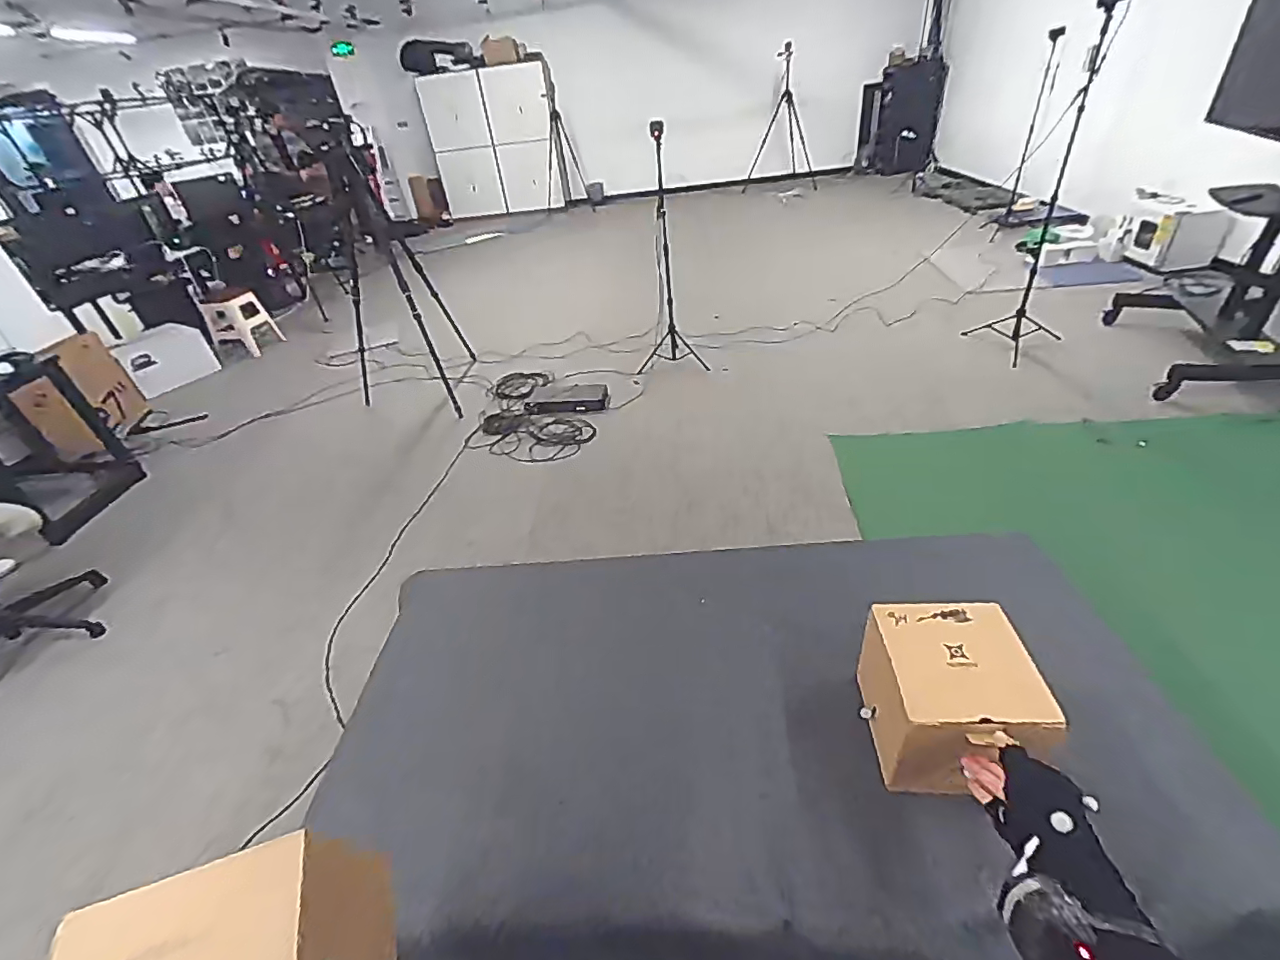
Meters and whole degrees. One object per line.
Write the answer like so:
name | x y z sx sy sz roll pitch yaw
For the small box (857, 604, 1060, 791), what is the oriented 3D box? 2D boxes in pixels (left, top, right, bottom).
small box | 0.399 0.286 0.715 0.168 0.176 0.179 -2 37 7
